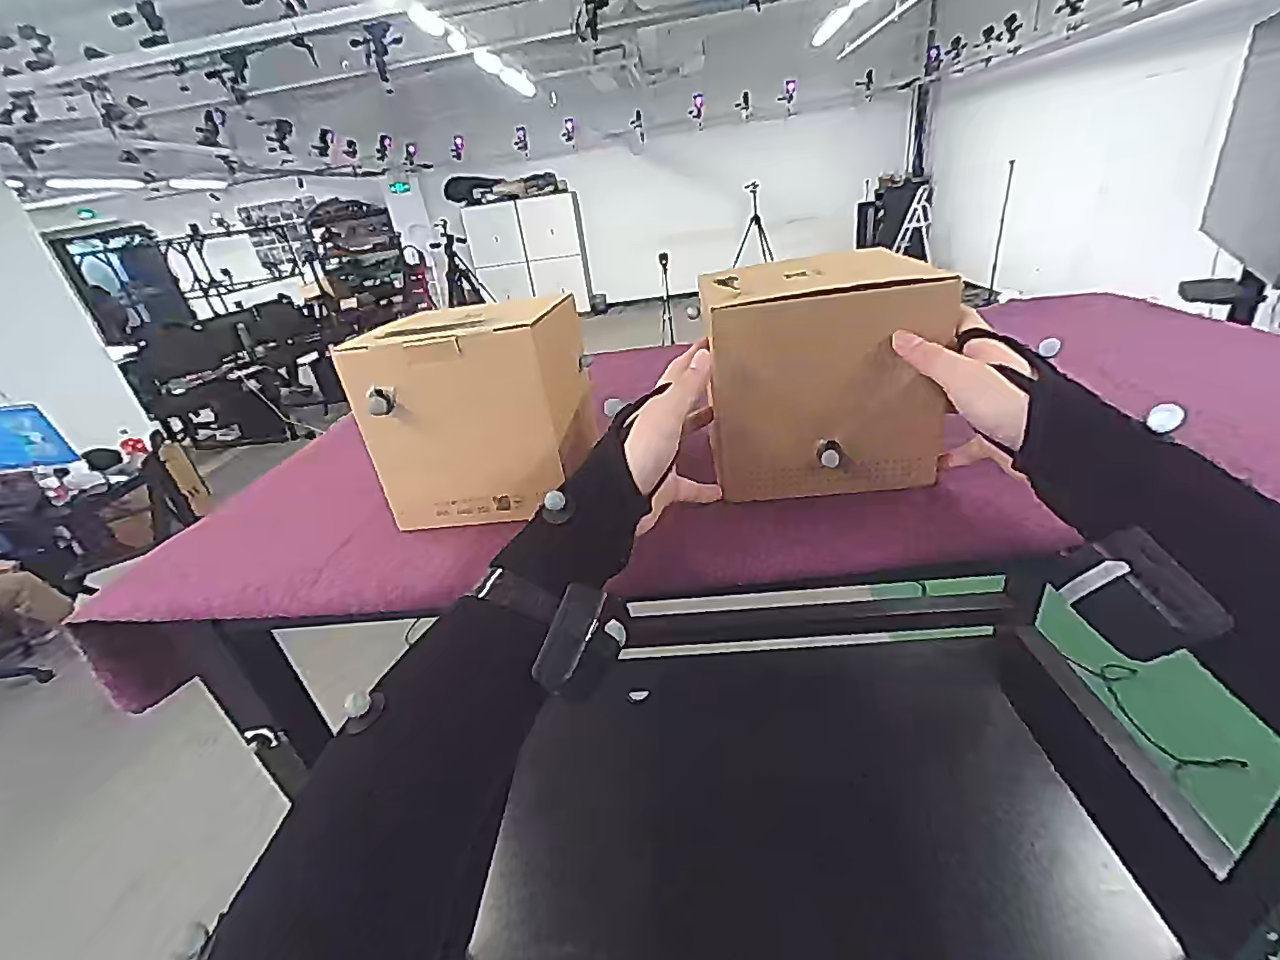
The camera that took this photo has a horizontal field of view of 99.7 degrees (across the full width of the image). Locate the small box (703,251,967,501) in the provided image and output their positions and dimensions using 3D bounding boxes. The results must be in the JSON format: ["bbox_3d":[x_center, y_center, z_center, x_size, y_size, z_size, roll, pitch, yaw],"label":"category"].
[{"bbox_3d":[0.150,-0.095,0.480,0.179,0.176,0.168,-5,27,6],"label":"small box"}]
